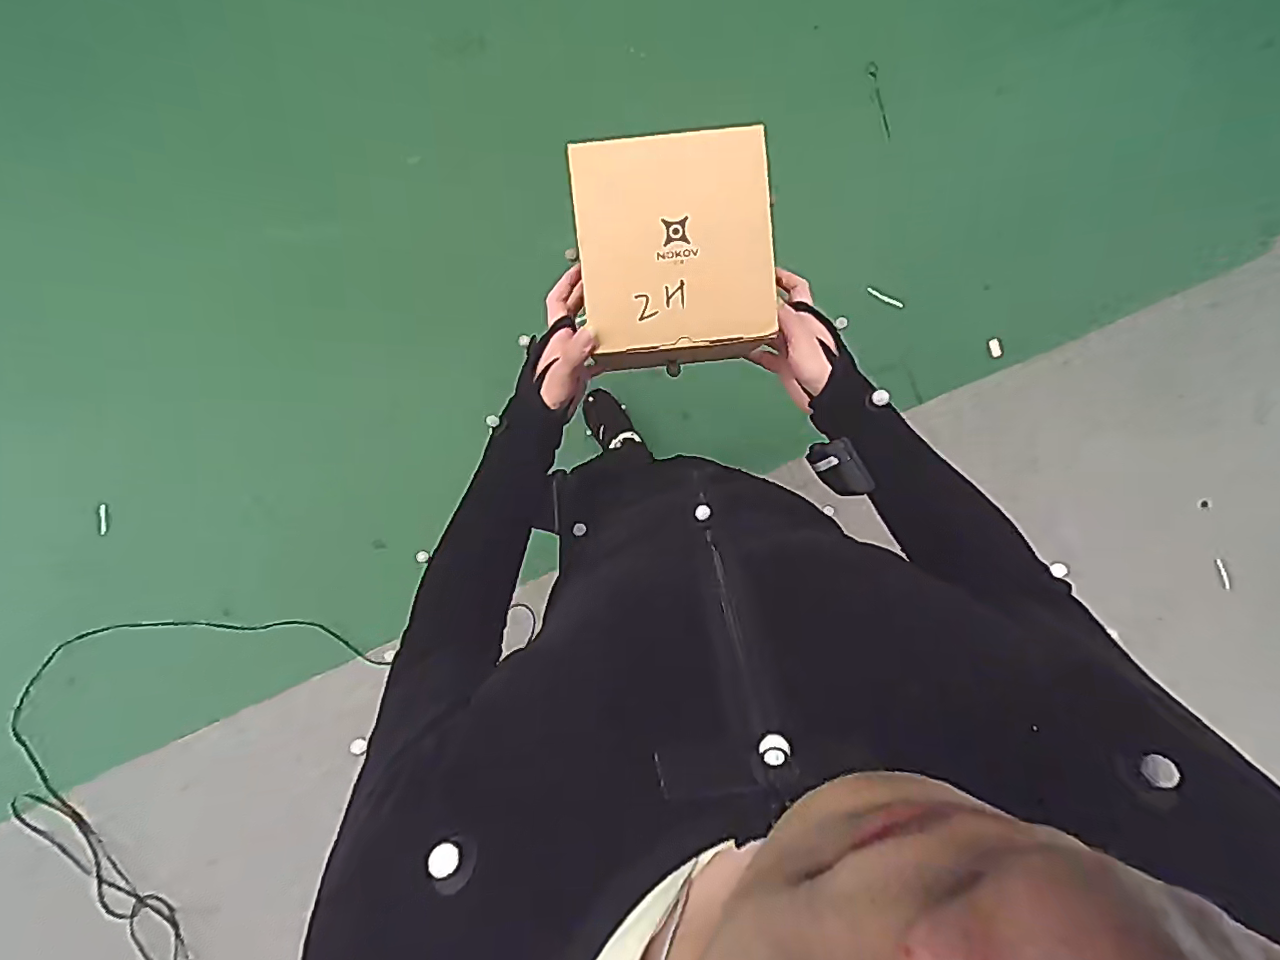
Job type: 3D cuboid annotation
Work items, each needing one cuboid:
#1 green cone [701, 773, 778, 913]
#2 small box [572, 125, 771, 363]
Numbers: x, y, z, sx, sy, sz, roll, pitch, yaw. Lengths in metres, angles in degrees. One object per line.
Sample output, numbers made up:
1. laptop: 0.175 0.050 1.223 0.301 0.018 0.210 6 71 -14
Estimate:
1. green cone: 0.316 1.048 1.527 0.202 0.368 0.200 -24 94 1
2. small box: 0.026 -0.218 0.545 0.168 0.176 0.179 -5 98 0
